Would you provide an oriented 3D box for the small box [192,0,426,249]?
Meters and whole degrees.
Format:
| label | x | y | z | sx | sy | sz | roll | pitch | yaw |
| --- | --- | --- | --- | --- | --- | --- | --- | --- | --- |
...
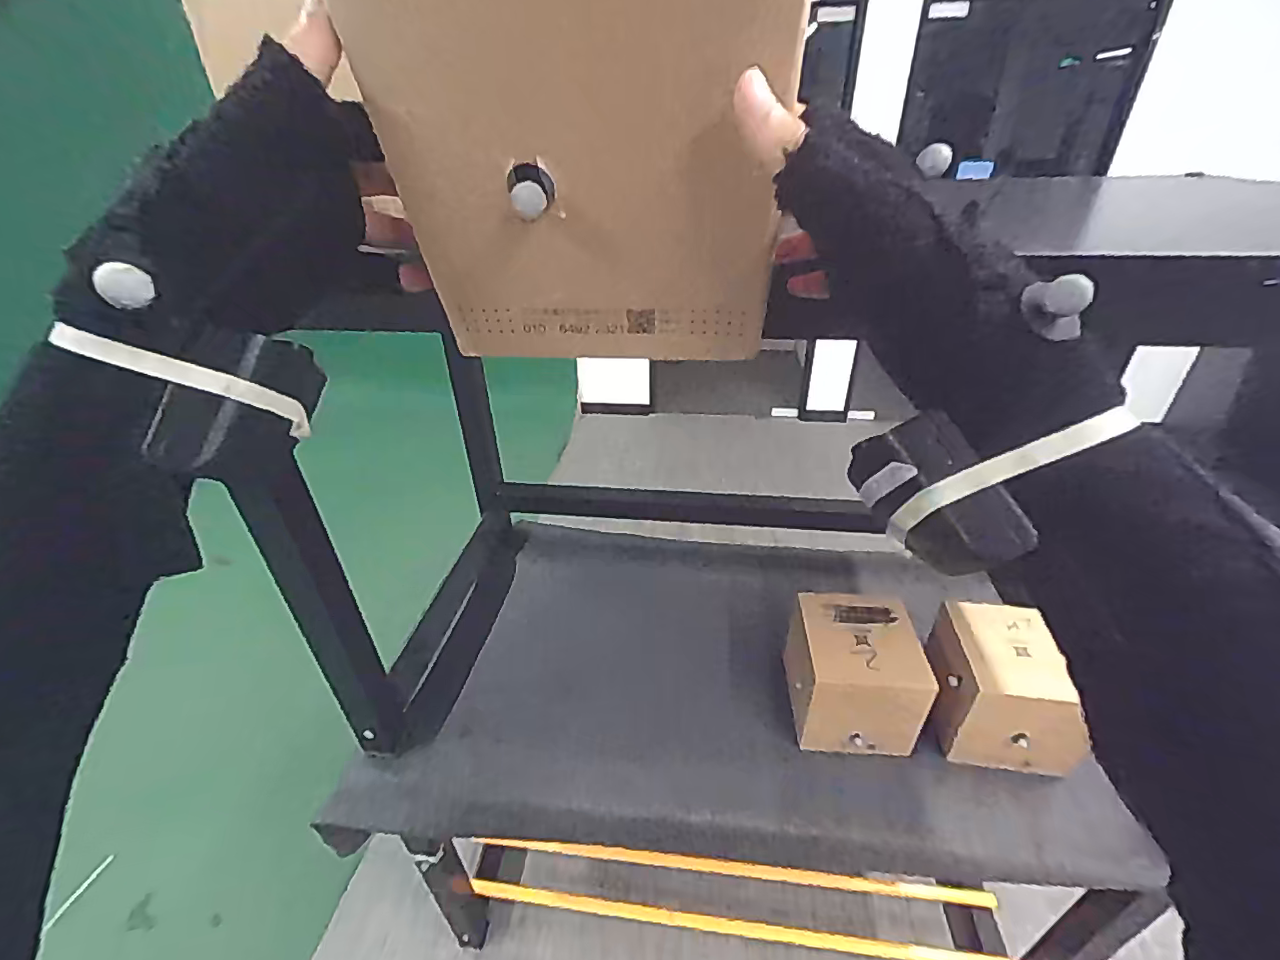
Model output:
| label | x | y | z | sx | sy | sz | roll | pitch | yaw |
| --- | --- | --- | --- | --- | --- | --- | --- | --- | --- |
| small box | -0.238 | -0.319 | 0.497 | 0.168 | 0.176 | 0.179 | 3 | 33 | 7 |

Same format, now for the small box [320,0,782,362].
| label | x | y | z | sx | sy | sz | roll | pitch | yaw |
| --- | --- | --- | --- | --- | --- | --- | --- | --- | --- |
| small box | -0.019 | -0.180 | 0.293 | 0.168 | 0.176 | 0.179 | 2 | 51 | 5 |
